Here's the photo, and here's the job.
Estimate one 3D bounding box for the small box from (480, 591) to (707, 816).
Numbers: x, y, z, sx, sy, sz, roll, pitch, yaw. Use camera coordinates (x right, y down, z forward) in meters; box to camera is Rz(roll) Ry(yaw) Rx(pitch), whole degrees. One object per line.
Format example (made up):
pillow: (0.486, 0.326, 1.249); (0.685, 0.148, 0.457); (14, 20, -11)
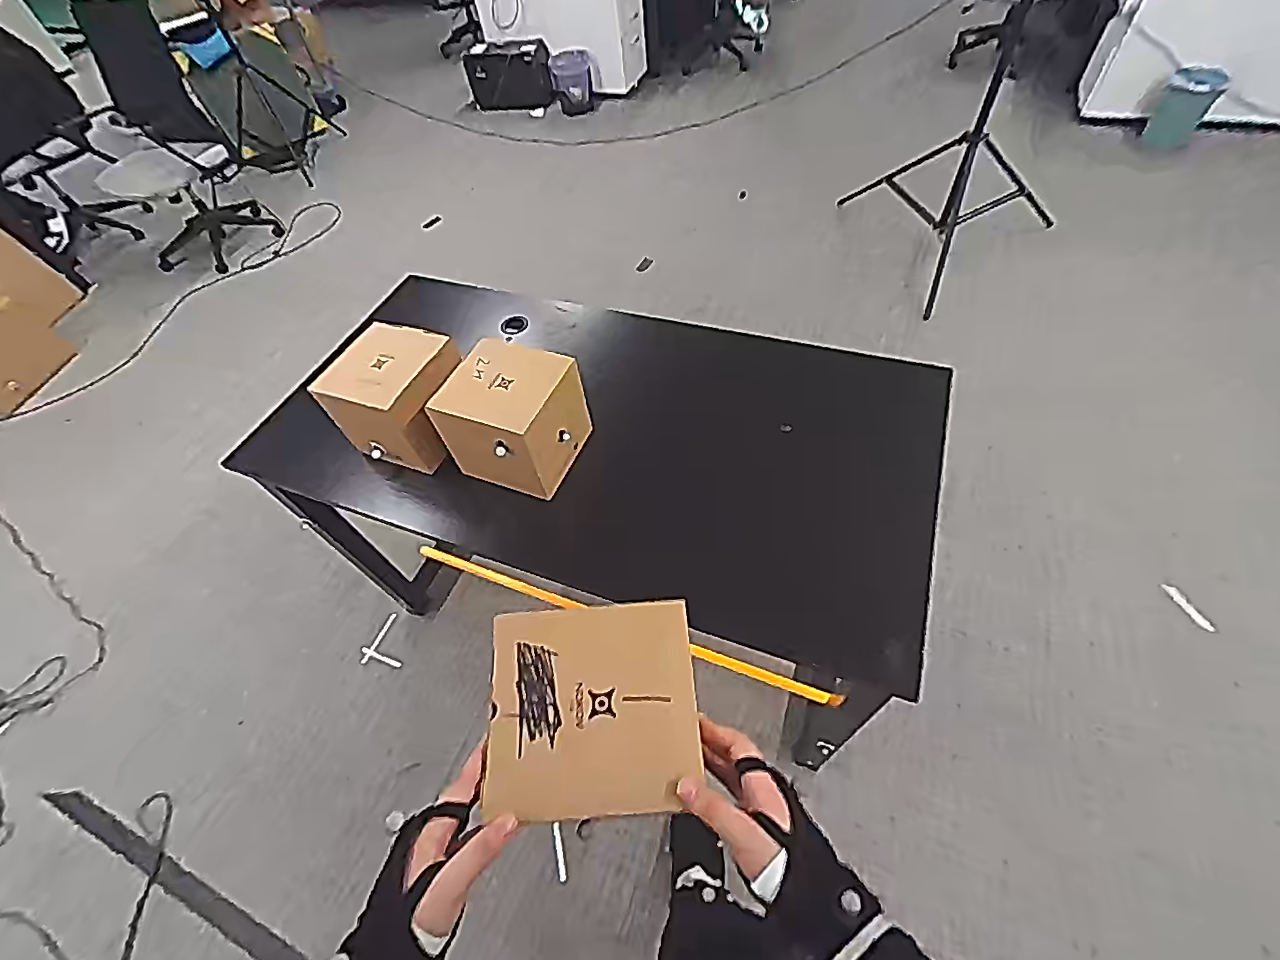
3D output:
small box: (-0.036, 0.217, 0.513); (0.179, 0.176, 0.168); (-5, 58, -1)

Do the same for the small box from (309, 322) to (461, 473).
small box: (-0.408, -0.141, 0.932); (0.168, 0.176, 0.179); (14, 58, 18)

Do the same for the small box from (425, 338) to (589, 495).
small box: (-0.200, -0.098, 0.873); (0.179, 0.176, 0.168); (16, 57, 18)
